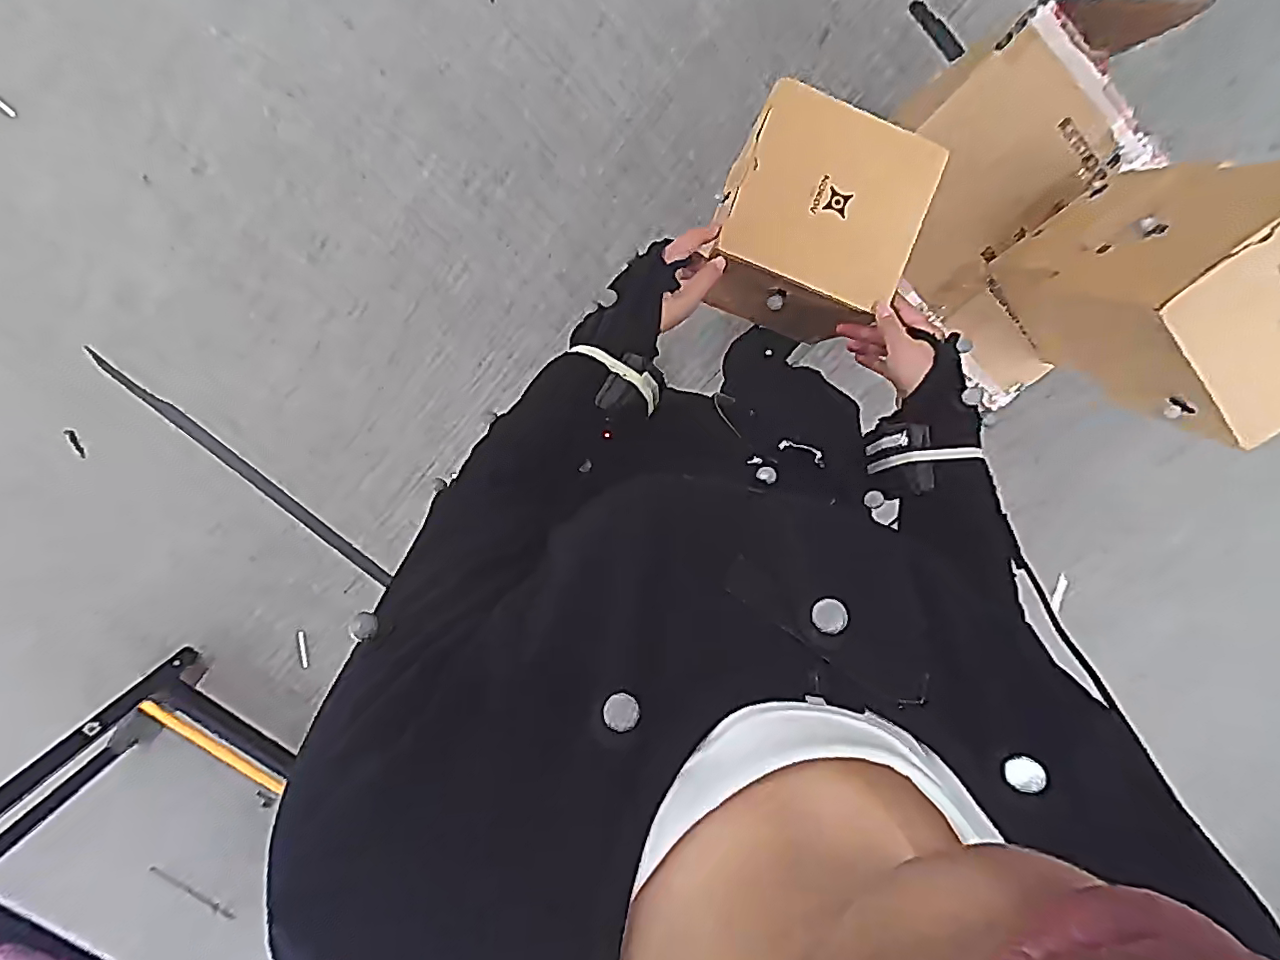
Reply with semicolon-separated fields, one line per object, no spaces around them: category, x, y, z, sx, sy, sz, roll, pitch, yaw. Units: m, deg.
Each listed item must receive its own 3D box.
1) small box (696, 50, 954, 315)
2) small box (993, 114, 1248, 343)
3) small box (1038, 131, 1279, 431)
small box;0.172;-0.285;0.566;0.179;0.176;0.168;19;97;-3
small box;0.552;-0.265;0.616;0.168;0.176;0.179;-38;107;22
small box;0.514;-0.180;0.479;0.179;0.176;0.168;42;114;-14
